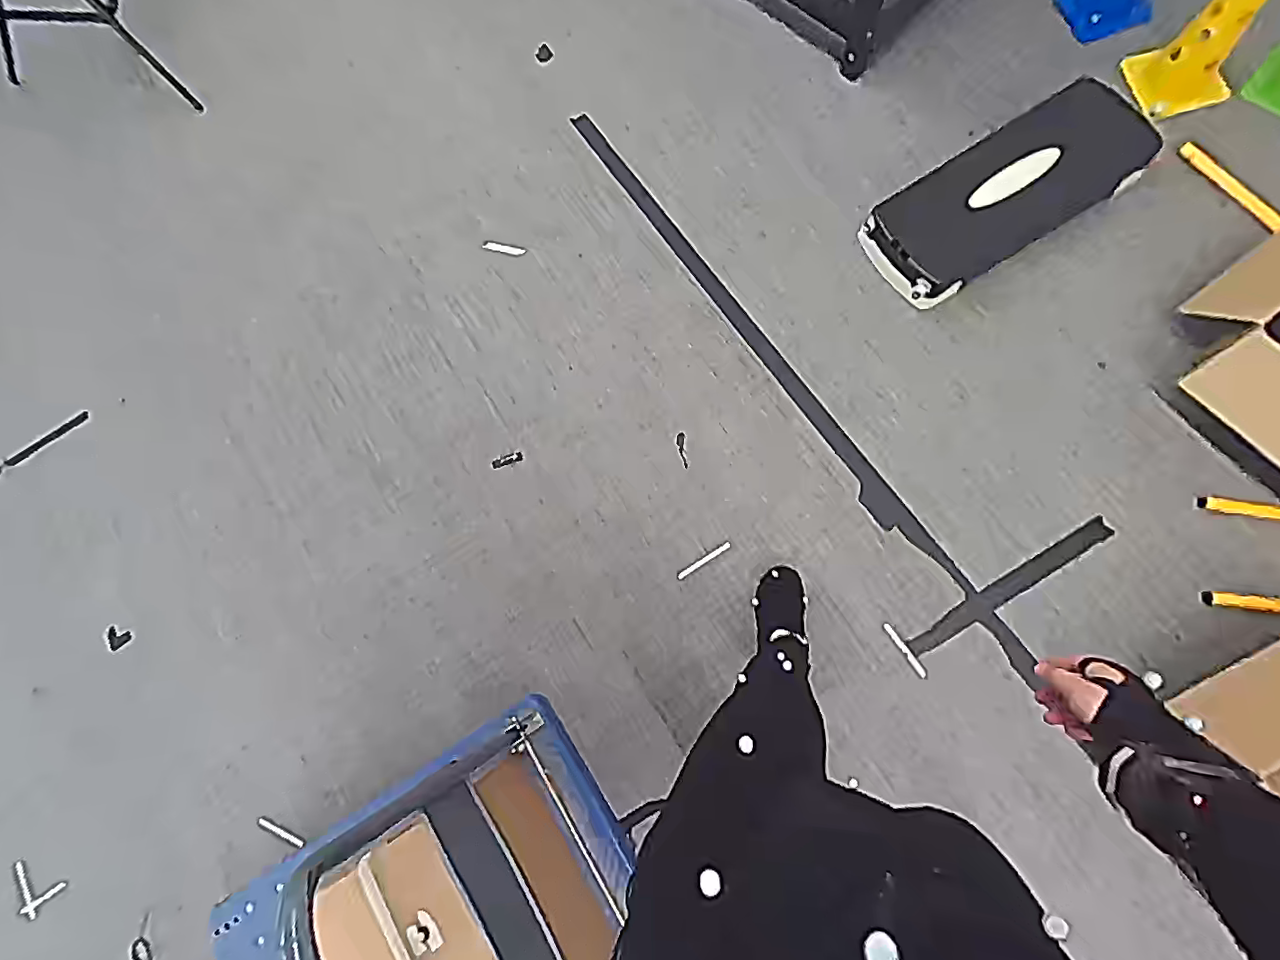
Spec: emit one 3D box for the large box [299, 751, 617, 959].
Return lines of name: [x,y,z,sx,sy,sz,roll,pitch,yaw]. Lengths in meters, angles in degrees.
large box: [-0.294,0.785,0.961,0.320,0.320,0.408,-34,75,0]
